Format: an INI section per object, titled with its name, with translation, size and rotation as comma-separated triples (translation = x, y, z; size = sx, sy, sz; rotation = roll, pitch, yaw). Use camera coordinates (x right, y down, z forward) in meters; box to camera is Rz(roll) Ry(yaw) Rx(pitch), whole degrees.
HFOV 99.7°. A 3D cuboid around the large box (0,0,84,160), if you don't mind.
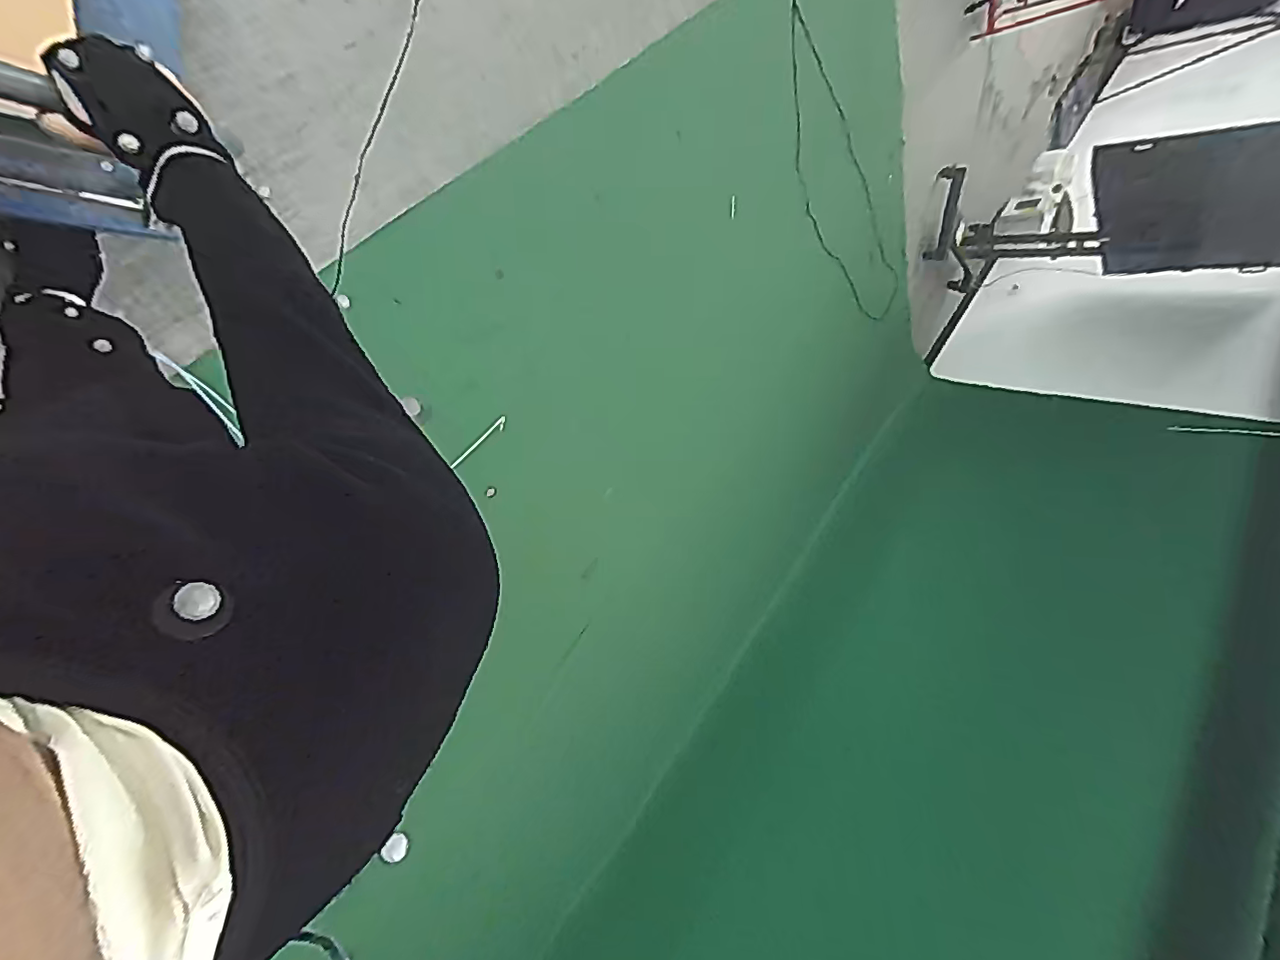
[large box]
translation = -0.955, -0.693, 0.688
size = 0.320, 0.320, 0.408
rotation = -7, 108, -45
